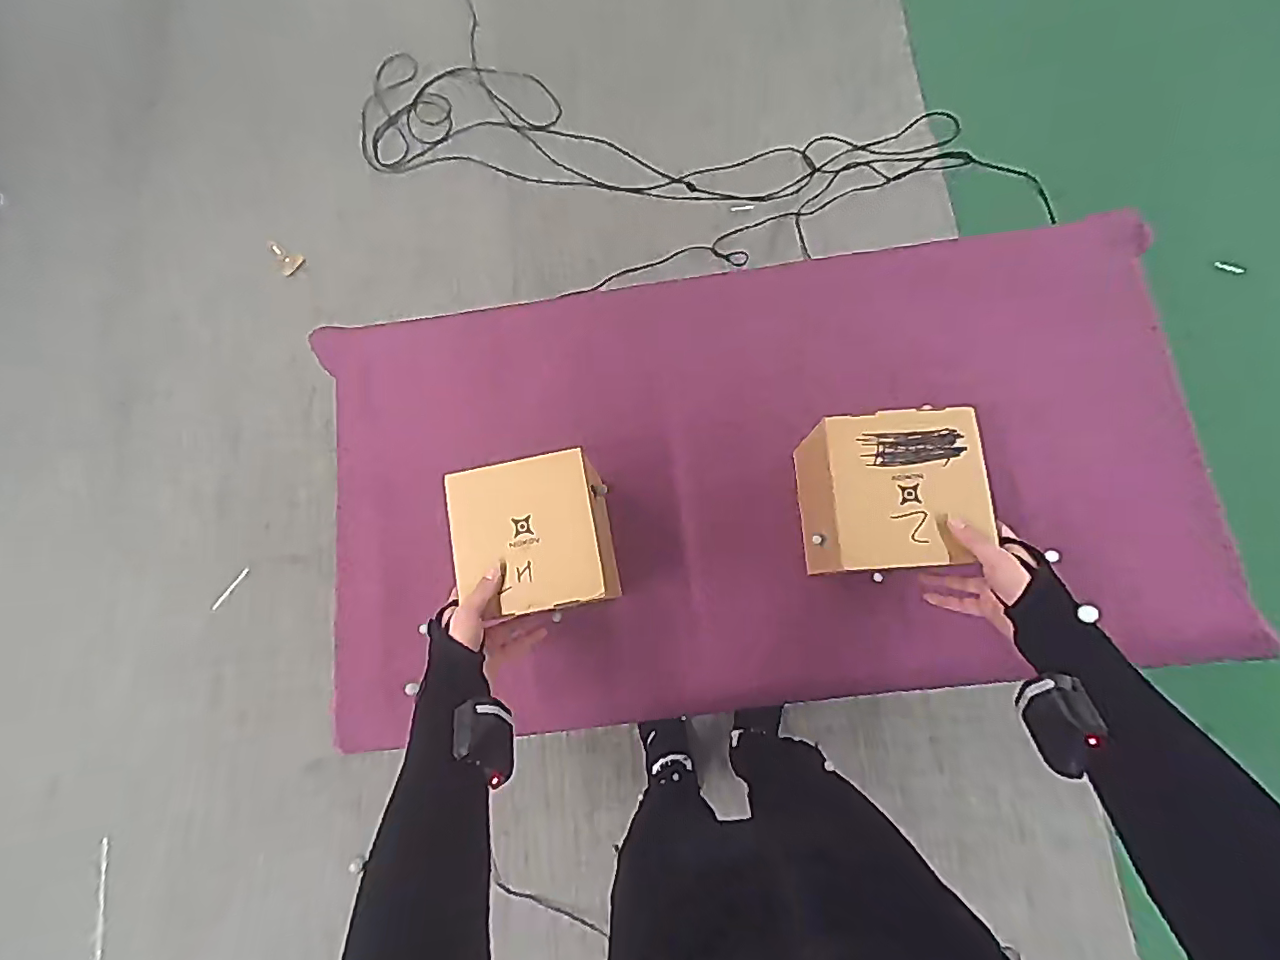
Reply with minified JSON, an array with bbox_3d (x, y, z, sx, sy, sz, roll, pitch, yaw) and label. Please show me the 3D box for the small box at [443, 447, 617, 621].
[{"bbox_3d":[-0.129,0.075,0.679,0.168,0.176,0.179,-11,78,2],"label":"small box"}]
